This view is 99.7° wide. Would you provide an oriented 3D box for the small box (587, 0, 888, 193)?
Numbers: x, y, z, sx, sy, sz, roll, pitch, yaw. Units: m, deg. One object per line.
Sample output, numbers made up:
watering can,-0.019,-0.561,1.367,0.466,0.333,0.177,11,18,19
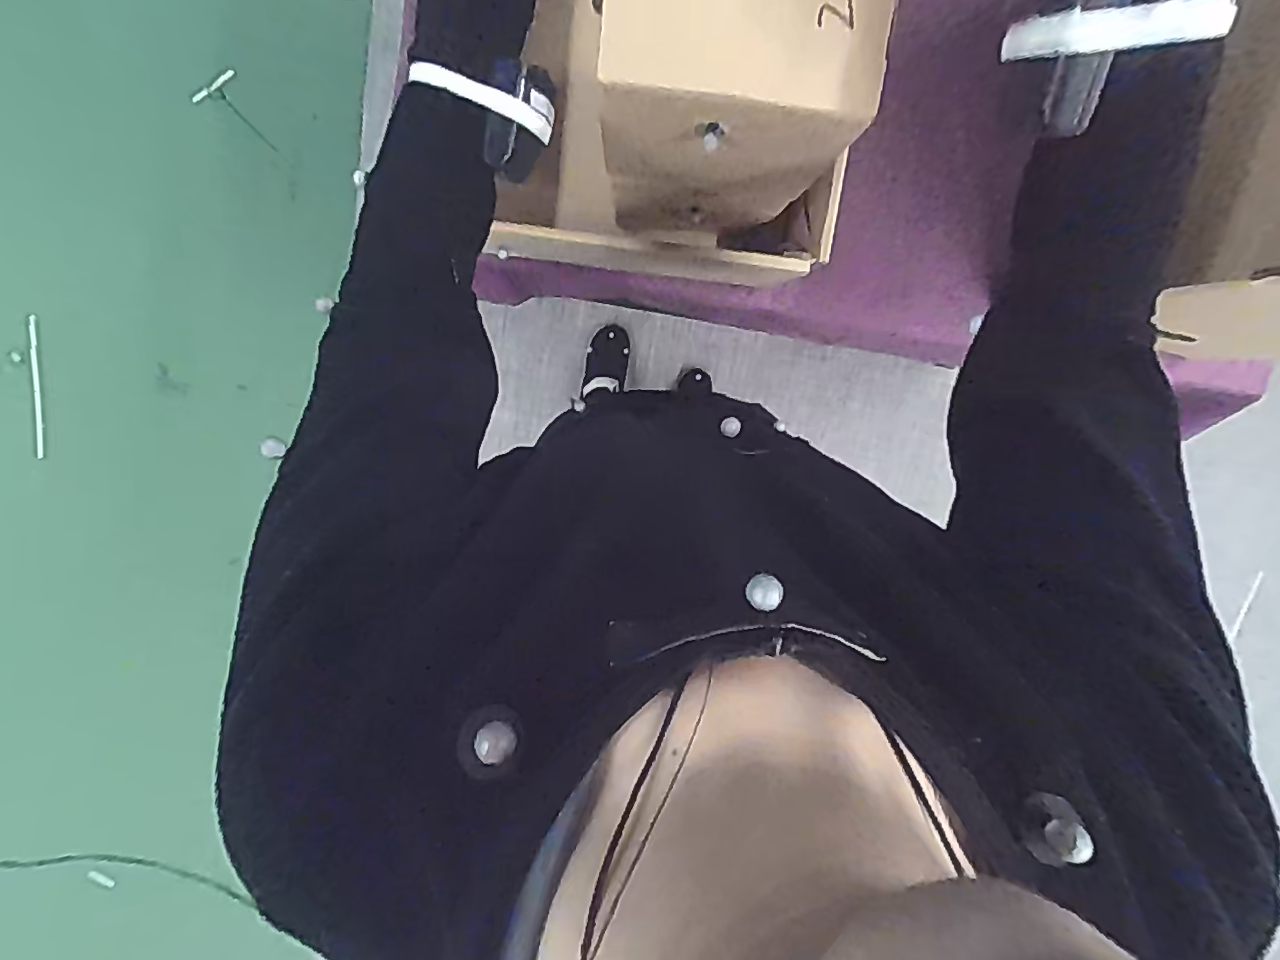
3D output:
small box,0.063,-0.327,0.393,0.179,0.176,0.168,7,103,-3
